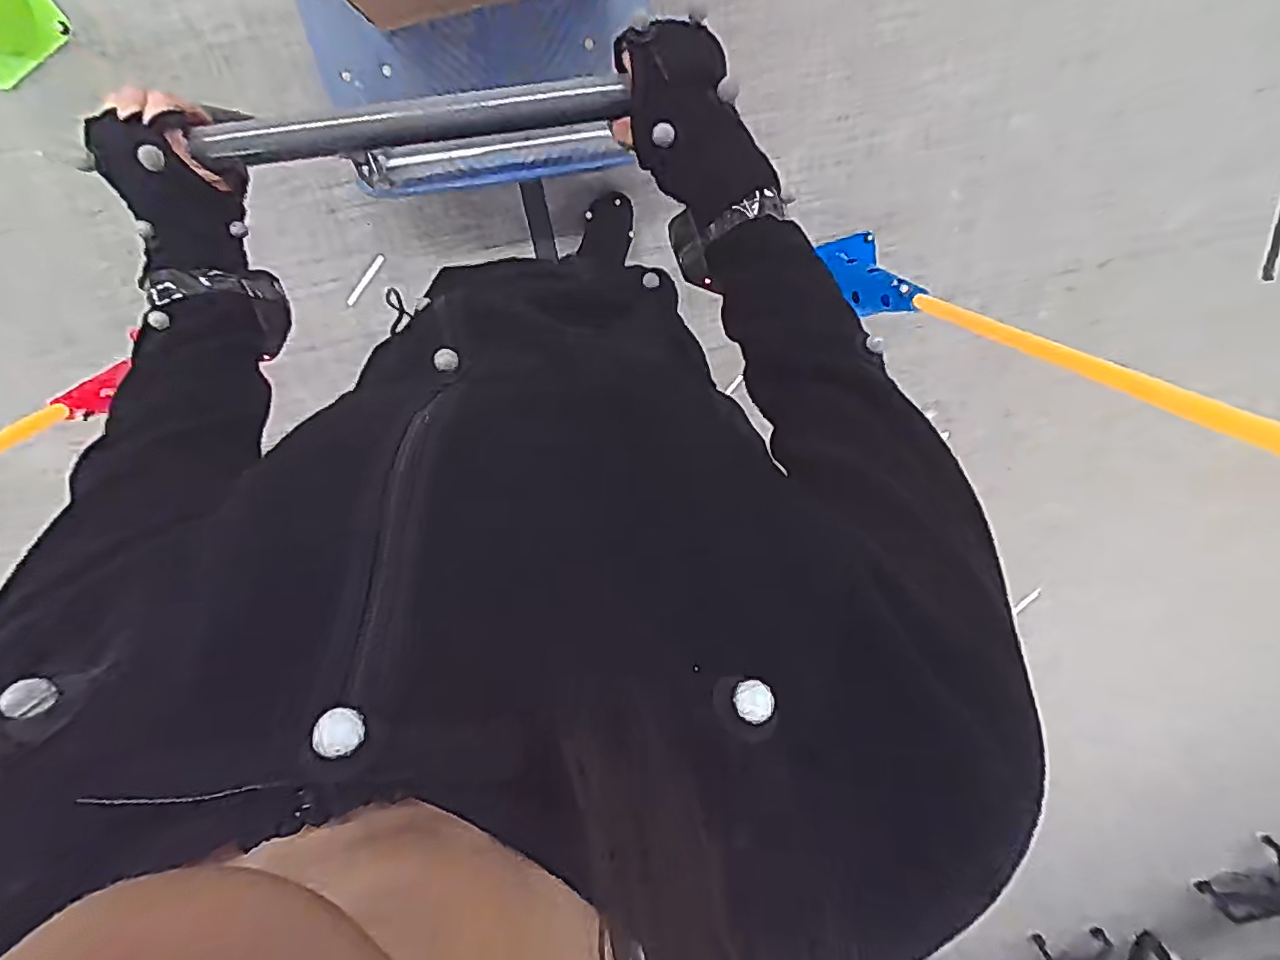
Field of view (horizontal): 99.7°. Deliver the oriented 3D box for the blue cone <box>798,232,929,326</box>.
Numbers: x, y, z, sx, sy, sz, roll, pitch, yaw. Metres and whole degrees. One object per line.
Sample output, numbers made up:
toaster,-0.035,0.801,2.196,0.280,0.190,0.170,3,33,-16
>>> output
blue cone,0.504,-0.418,1.171,0.193,0.380,0.192,-15,114,1
